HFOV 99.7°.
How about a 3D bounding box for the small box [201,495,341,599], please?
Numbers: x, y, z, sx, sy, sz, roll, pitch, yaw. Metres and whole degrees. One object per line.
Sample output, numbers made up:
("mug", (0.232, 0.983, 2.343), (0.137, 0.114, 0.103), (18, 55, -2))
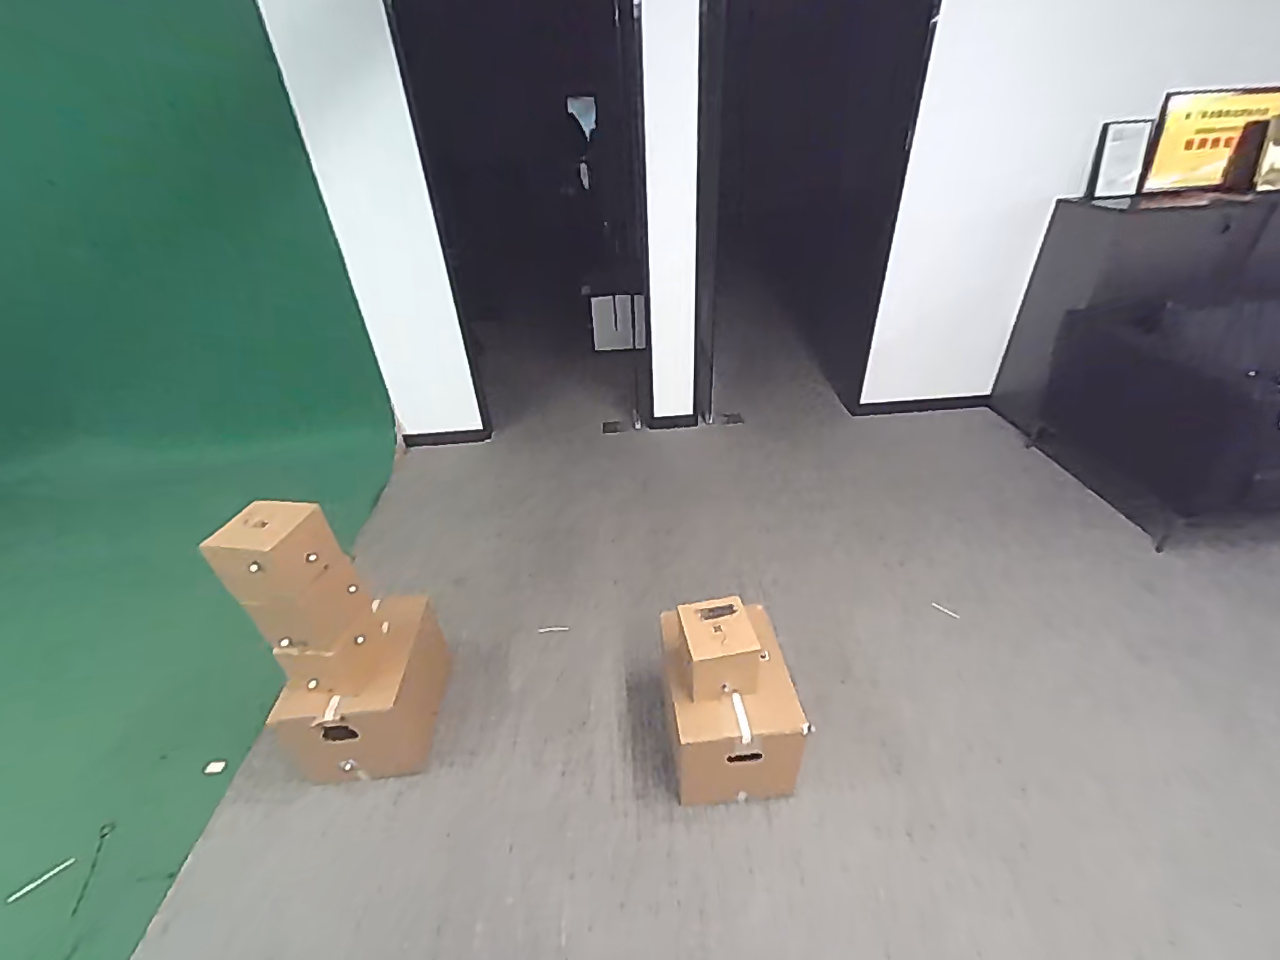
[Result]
("small box", (-0.833, 0.155, 1.244), (0.179, 0.176, 0.168), (3, 35, 10))

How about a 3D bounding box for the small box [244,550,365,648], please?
("small box", (-0.816, 0.287, 1.341), (0.168, 0.176, 0.179), (3, 36, 10))

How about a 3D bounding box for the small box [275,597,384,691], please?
("small box", (-0.803, 0.426, 1.425), (0.168, 0.176, 0.179), (1, 35, 7))

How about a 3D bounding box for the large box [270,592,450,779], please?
("large box", (-0.791, 0.597, 1.605), (0.320, 0.320, 0.408), (-5, 34, -3))
